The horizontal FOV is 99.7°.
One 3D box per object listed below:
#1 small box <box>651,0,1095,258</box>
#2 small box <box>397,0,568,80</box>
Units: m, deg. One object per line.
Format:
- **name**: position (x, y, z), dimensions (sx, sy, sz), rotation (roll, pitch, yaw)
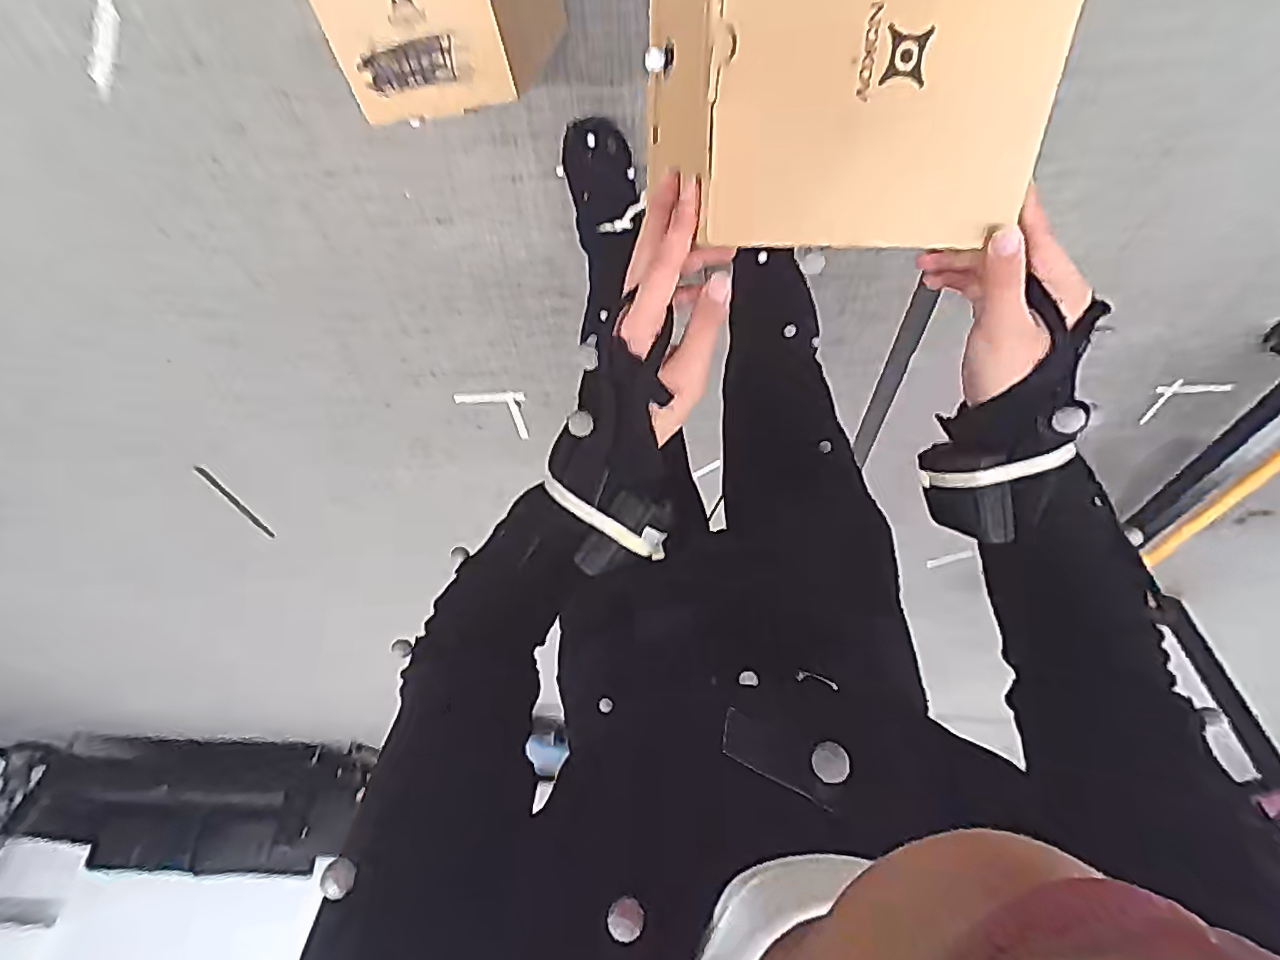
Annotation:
- **small box**: position (0.107, -0.226, 0.313), dimensions (0.179, 0.176, 0.168), rotation (-3, 117, -7)
- **small box**: position (-0.188, -0.611, 0.644), dimensions (0.168, 0.176, 0.179), rotation (0, 140, 6)
